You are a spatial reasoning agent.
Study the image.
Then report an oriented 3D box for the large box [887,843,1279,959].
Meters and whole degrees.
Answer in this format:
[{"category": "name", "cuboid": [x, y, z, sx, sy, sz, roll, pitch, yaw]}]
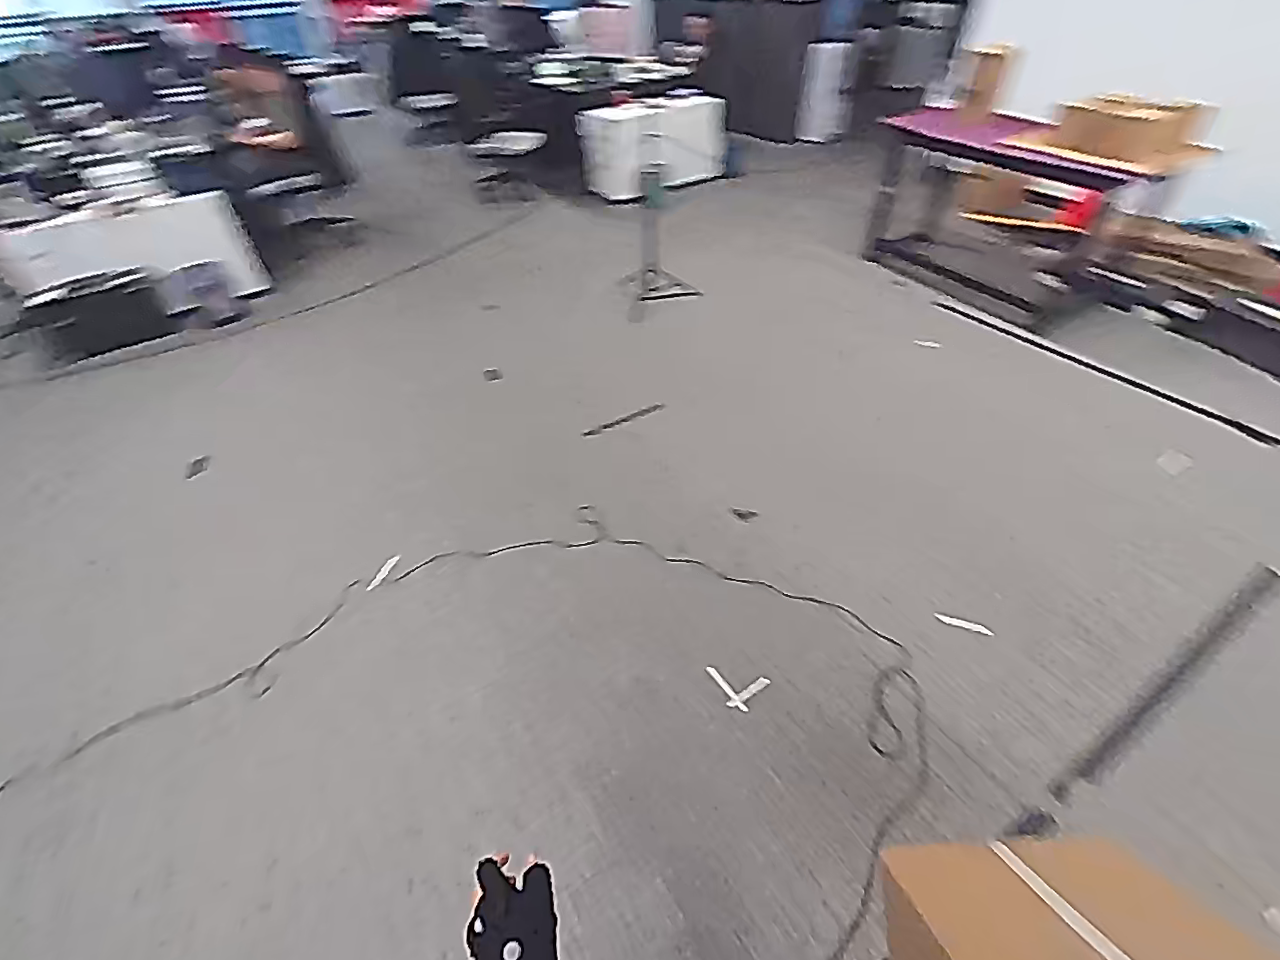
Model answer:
[{"category": "large box", "cuboid": [0.484, 0.626, 0.520, 0.320, 0.408, 0.320, -4, 85, 3]}]
